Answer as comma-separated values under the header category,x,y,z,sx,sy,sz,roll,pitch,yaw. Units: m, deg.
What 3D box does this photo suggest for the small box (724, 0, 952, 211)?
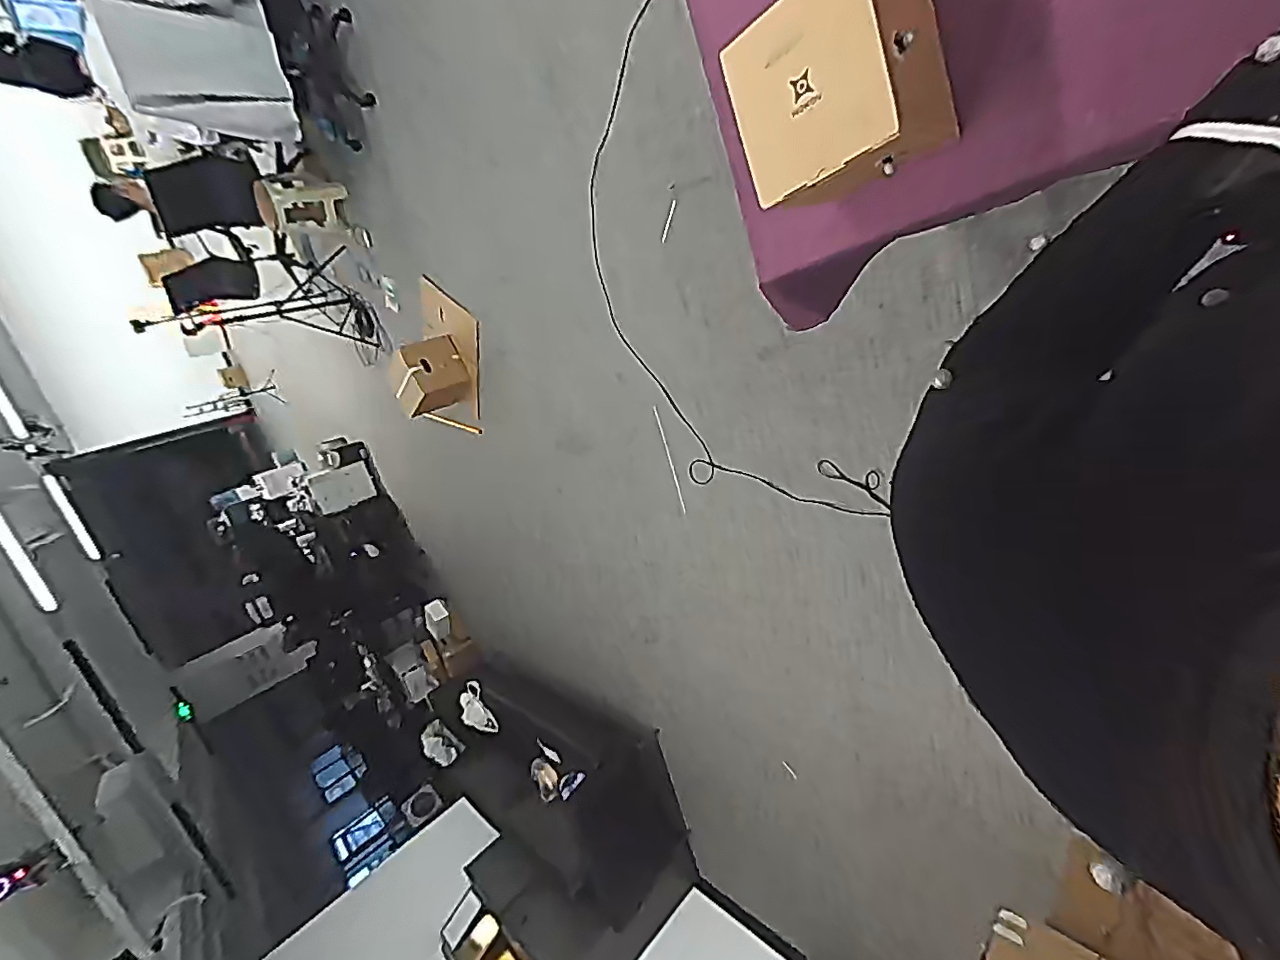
category,x,y,z,sx,sy,sz,roll,pitch,yaw
small box,0.228,-0.432,0.612,0.168,0.176,0.179,-5,107,49
